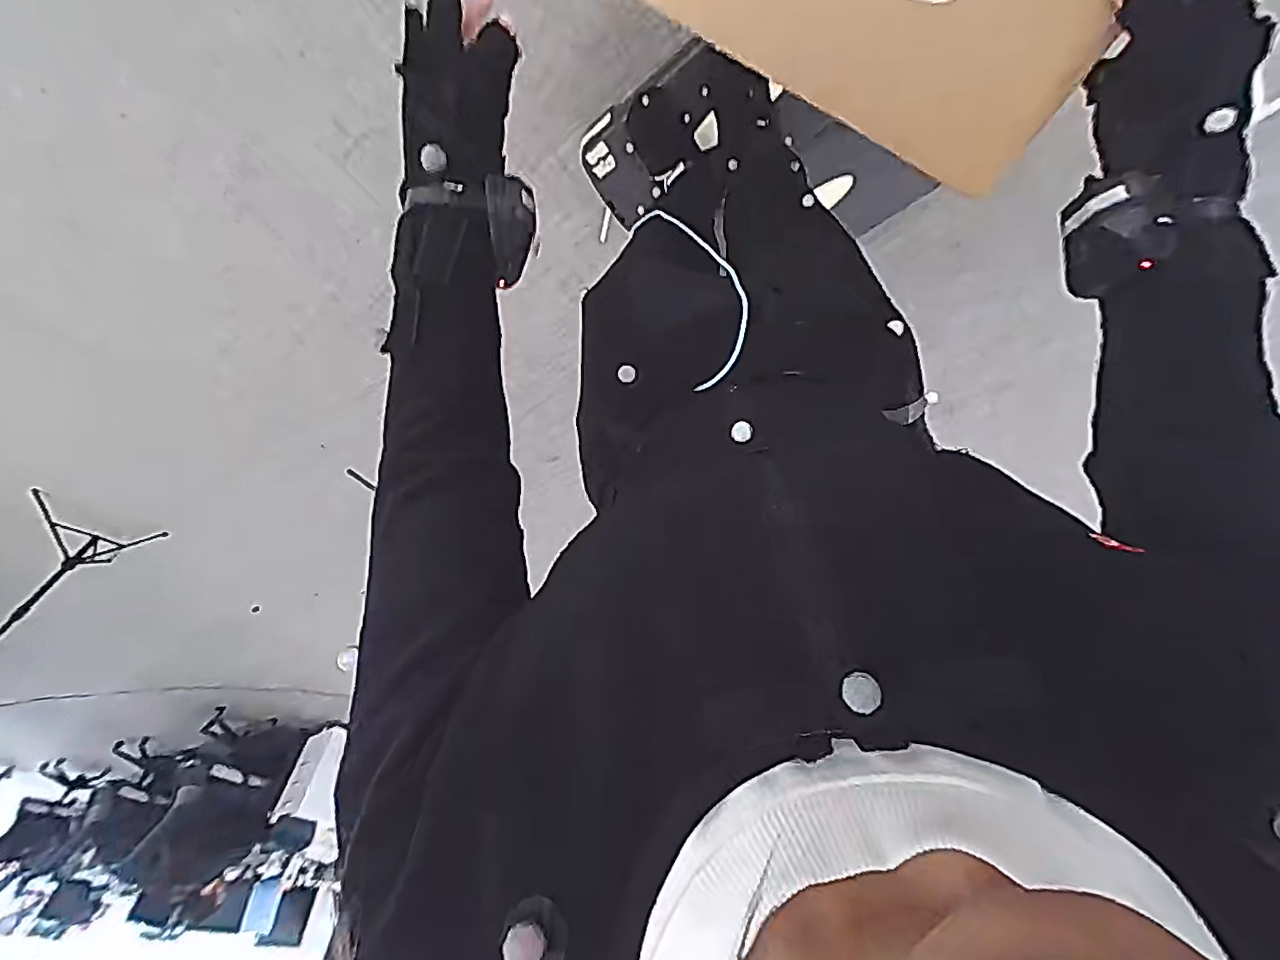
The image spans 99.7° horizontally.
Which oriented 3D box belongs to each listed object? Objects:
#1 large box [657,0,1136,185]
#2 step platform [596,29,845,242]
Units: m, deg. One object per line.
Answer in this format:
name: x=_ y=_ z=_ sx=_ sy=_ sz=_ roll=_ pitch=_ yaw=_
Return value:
large box: x=0.262 y=-0.539 z=0.466 sx=0.408 sy=0.320 sz=0.320 roll=38 pitch=143 yaw=7
step platform: x=0.233 y=-0.818 z=1.113 sx=0.684 sy=0.204 sz=0.286 roll=-29 pitch=126 yaw=28
